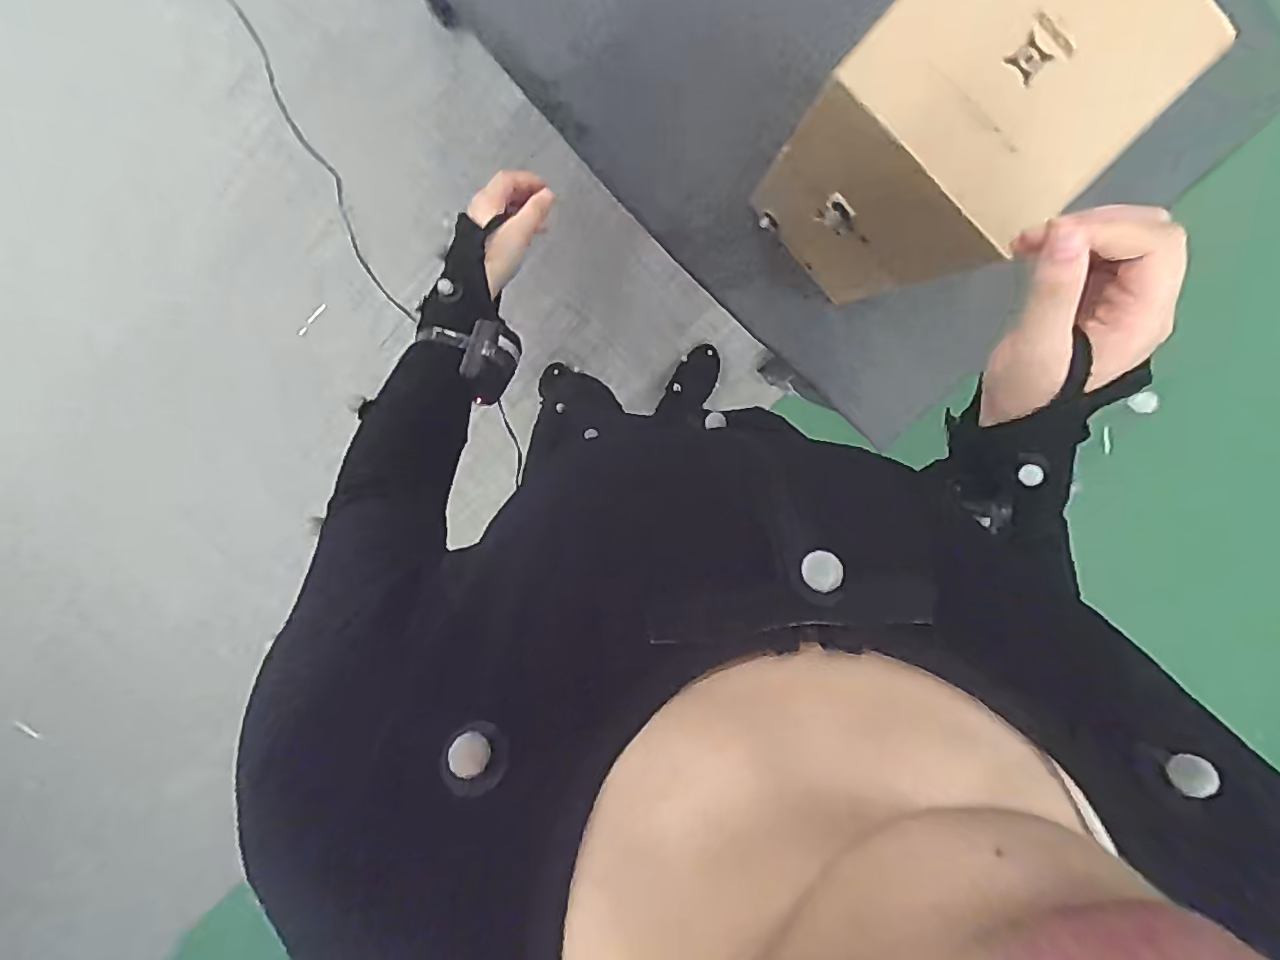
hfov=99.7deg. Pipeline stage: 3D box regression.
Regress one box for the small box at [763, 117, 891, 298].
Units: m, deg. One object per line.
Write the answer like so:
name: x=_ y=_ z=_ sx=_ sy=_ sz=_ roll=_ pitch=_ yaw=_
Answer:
small box: x=0.247 y=-0.314 z=0.562 sx=0.179 sy=0.176 sz=0.168 roll=-43 pitch=98 yaw=9

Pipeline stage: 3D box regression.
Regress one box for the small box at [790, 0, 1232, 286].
small box: x=0.240 y=-0.274 z=0.405 sx=0.168 sy=0.176 sz=0.179 roll=42 pitch=101 yaw=-6
